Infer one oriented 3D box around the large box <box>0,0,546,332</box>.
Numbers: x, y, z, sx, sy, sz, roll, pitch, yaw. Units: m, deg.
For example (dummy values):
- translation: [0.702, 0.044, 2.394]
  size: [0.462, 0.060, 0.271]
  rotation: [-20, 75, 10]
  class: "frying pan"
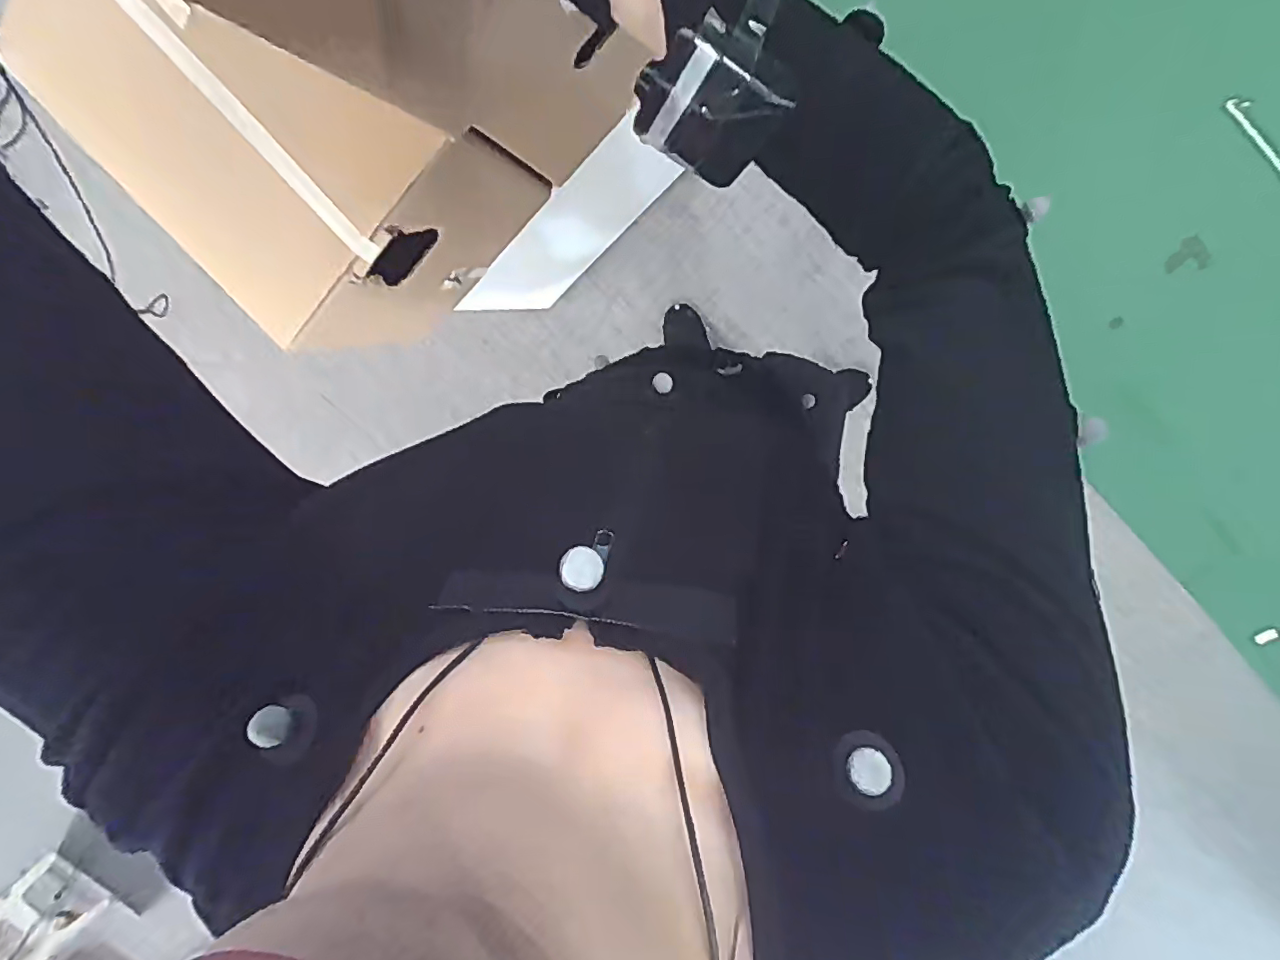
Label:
- translation: [-0.394, -0.441, 0.670]
  size: [0.320, 0.320, 0.408]
  rotation: [-40, 97, 18]
  class: "large box"
